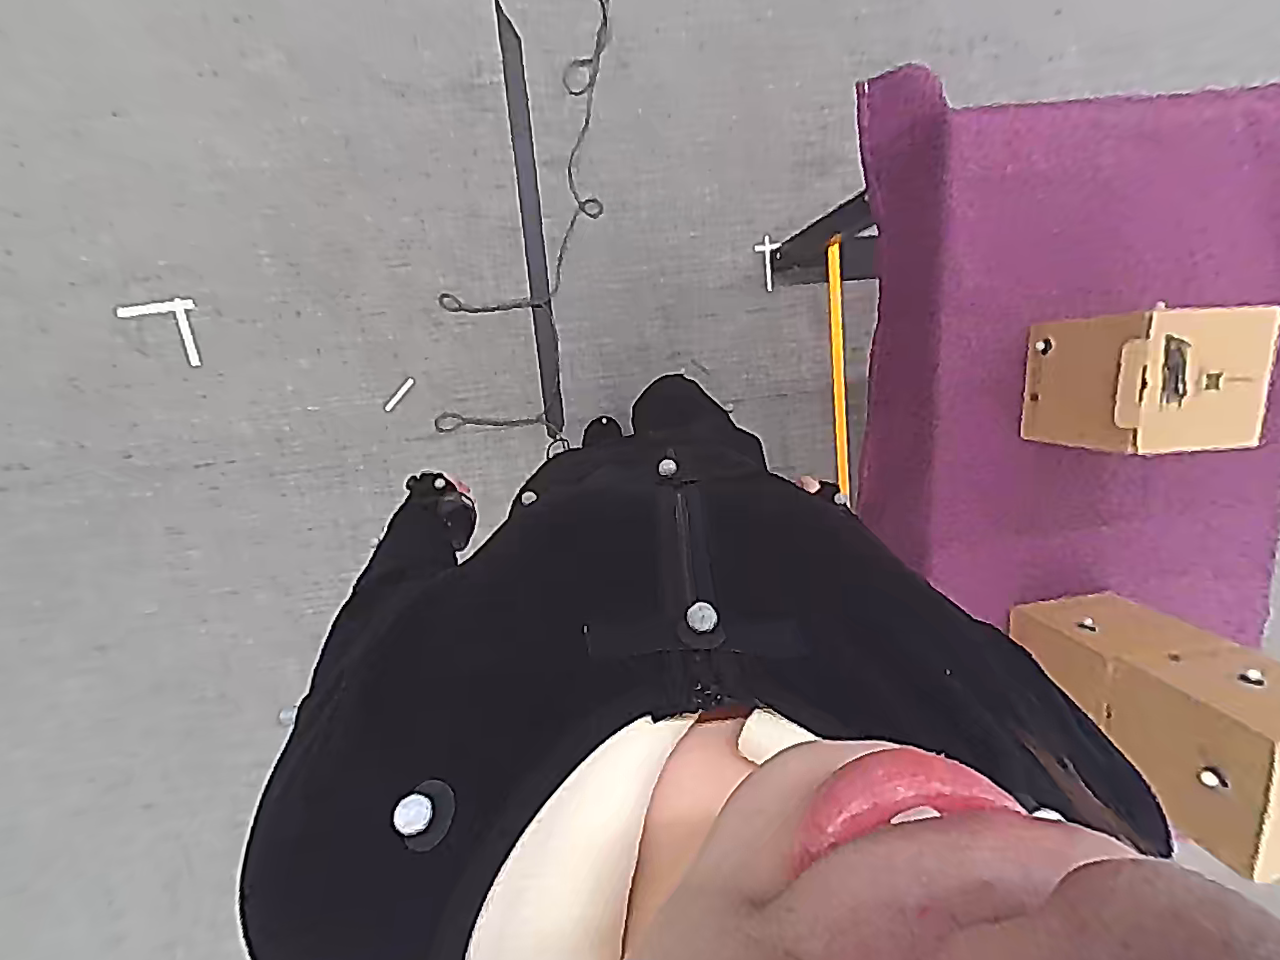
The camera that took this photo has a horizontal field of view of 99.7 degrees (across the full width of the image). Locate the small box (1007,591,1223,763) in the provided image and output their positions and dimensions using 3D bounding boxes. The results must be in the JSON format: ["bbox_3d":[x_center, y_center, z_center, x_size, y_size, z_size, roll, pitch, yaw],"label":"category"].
[{"bbox_3d":[0.683,0.280,0.800,0.179,0.176,0.168,-7,102,-6],"label":"small box"}]

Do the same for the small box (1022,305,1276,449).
[{"bbox_3d":[0.650,-0.134,0.715,0.179,0.176,0.168,-4,102,-7],"label":"small box"}]

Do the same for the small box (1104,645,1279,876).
[{"bbox_3d":[0.703,0.312,0.640,0.168,0.176,0.179,-6,102,-5],"label":"small box"}]
